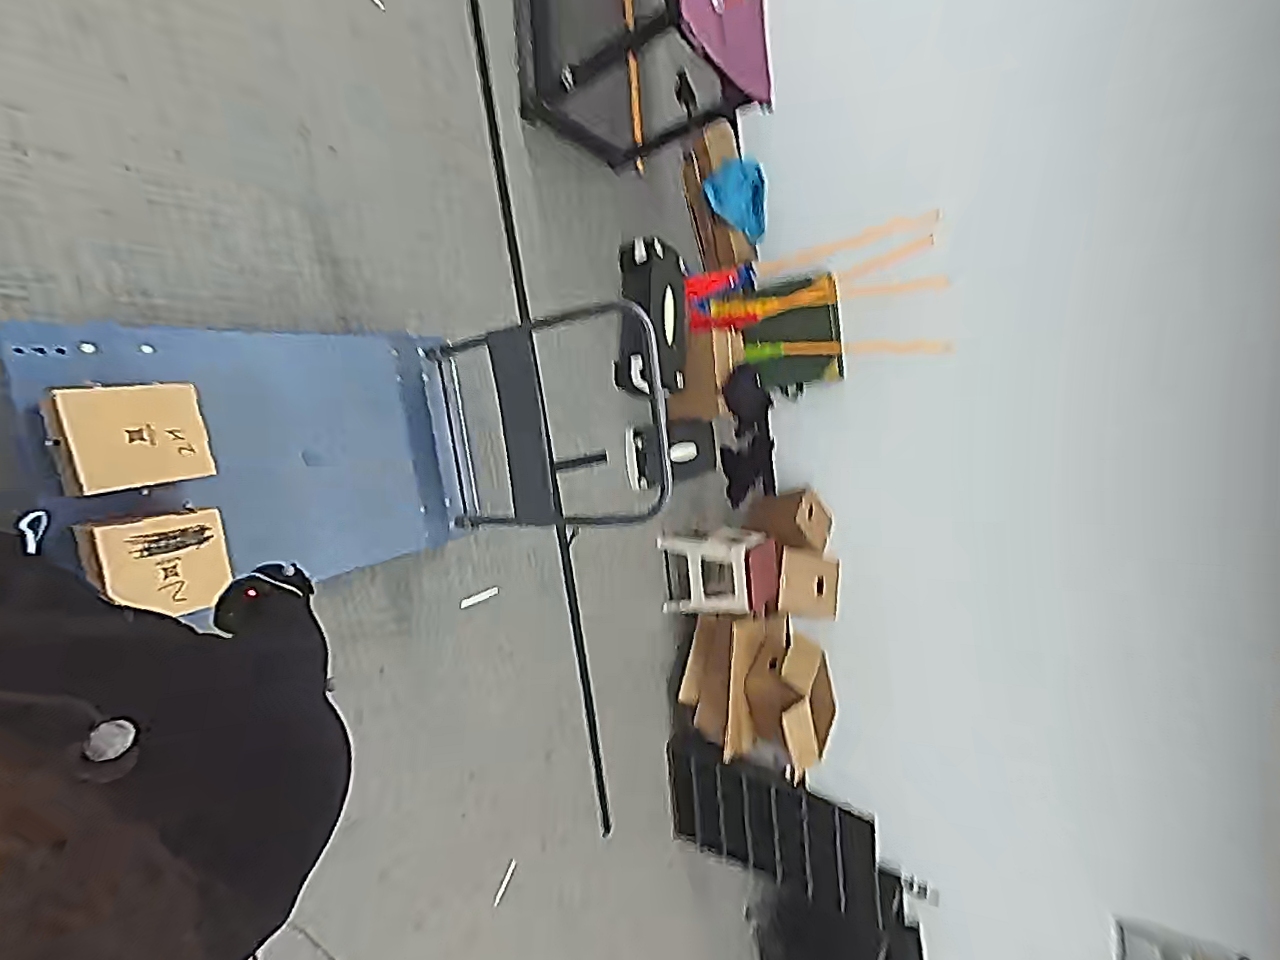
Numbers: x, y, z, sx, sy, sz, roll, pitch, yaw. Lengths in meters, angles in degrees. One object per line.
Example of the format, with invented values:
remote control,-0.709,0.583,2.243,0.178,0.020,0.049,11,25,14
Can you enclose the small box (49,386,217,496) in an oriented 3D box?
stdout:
small box,-0.889,-0.069,0.947,0.179,0.176,0.168,-19,103,-53
